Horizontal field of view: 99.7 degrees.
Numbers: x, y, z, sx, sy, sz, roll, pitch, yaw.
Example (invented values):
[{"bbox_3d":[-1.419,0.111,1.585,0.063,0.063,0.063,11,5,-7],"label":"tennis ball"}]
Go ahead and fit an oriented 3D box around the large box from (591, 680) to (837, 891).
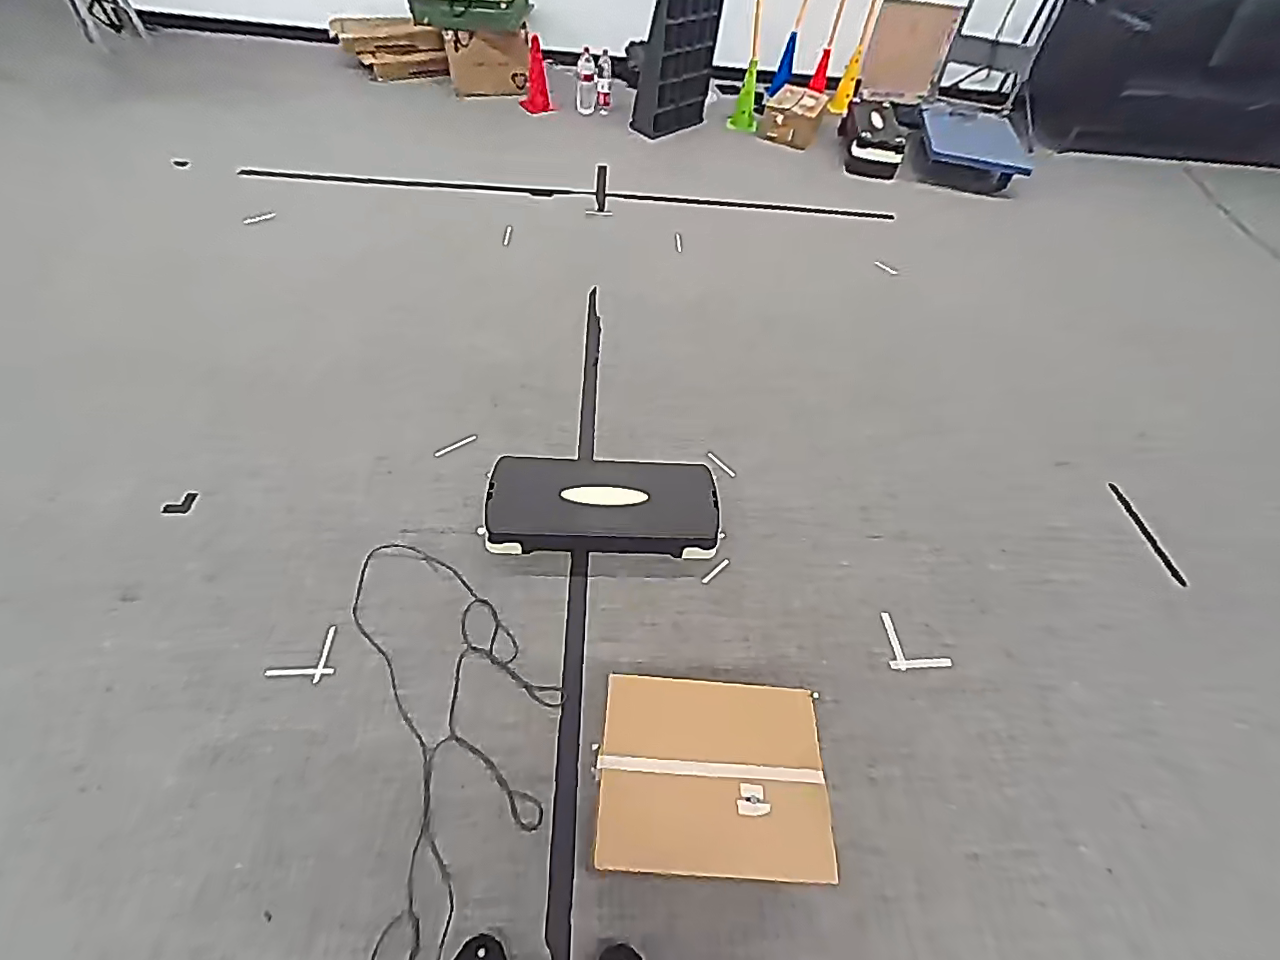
[{"bbox_3d":[0.116,0.617,1.079,0.408,0.320,0.320,6,52,-3],"label":"large box"}]
